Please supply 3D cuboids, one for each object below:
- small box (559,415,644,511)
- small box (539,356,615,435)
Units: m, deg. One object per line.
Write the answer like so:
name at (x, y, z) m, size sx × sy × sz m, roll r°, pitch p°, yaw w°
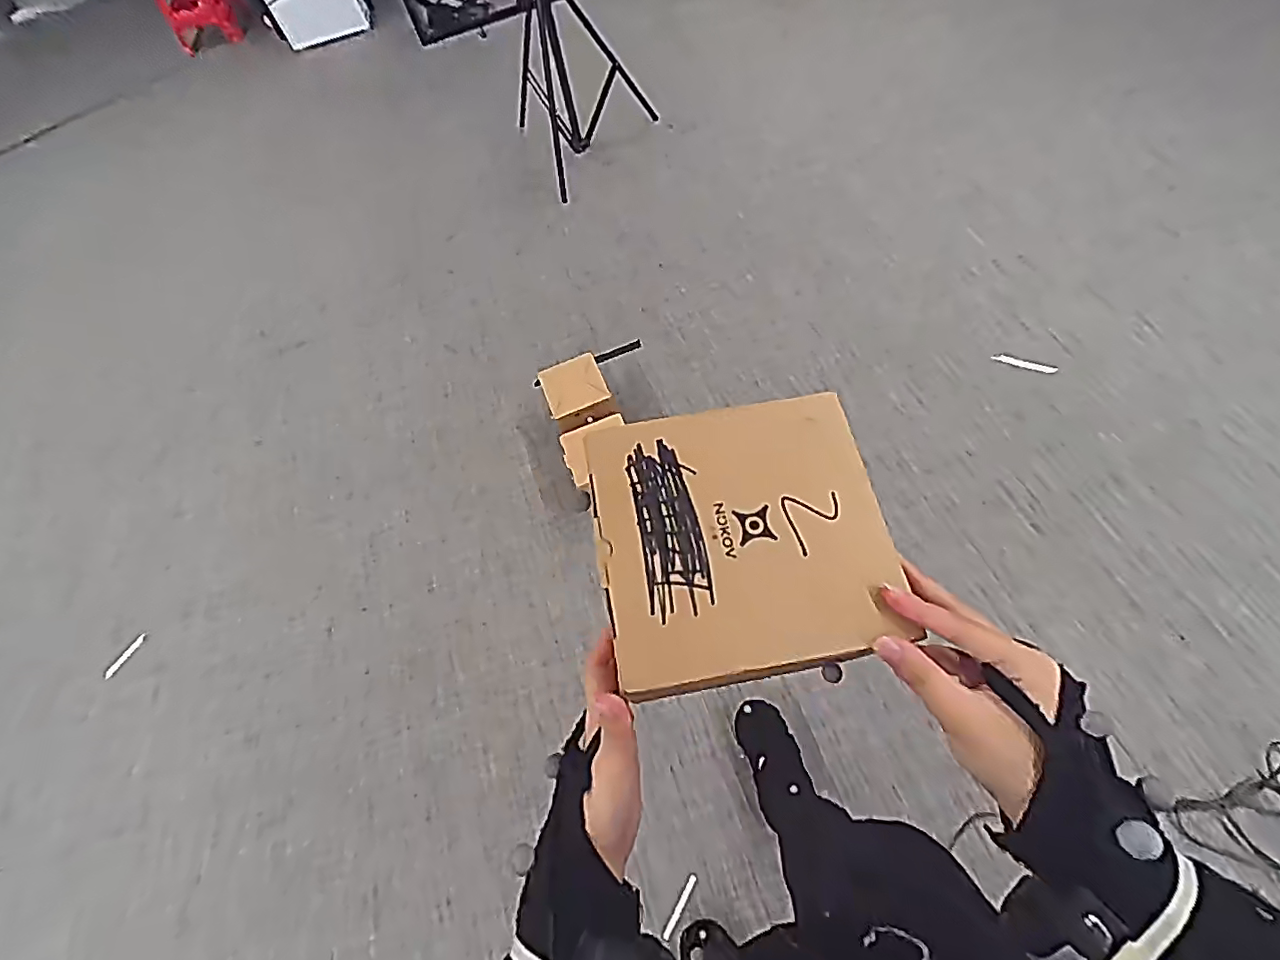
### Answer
small box at (-0.097, -0.042, 1.455) m, size 0.179 × 0.176 × 0.168 m, roll -22°, pitch 62°, yaw -2°
small box at (-0.176, -0.226, 1.555) m, size 0.168 × 0.176 × 0.179 m, roll -23°, pitch 62°, yaw -3°
